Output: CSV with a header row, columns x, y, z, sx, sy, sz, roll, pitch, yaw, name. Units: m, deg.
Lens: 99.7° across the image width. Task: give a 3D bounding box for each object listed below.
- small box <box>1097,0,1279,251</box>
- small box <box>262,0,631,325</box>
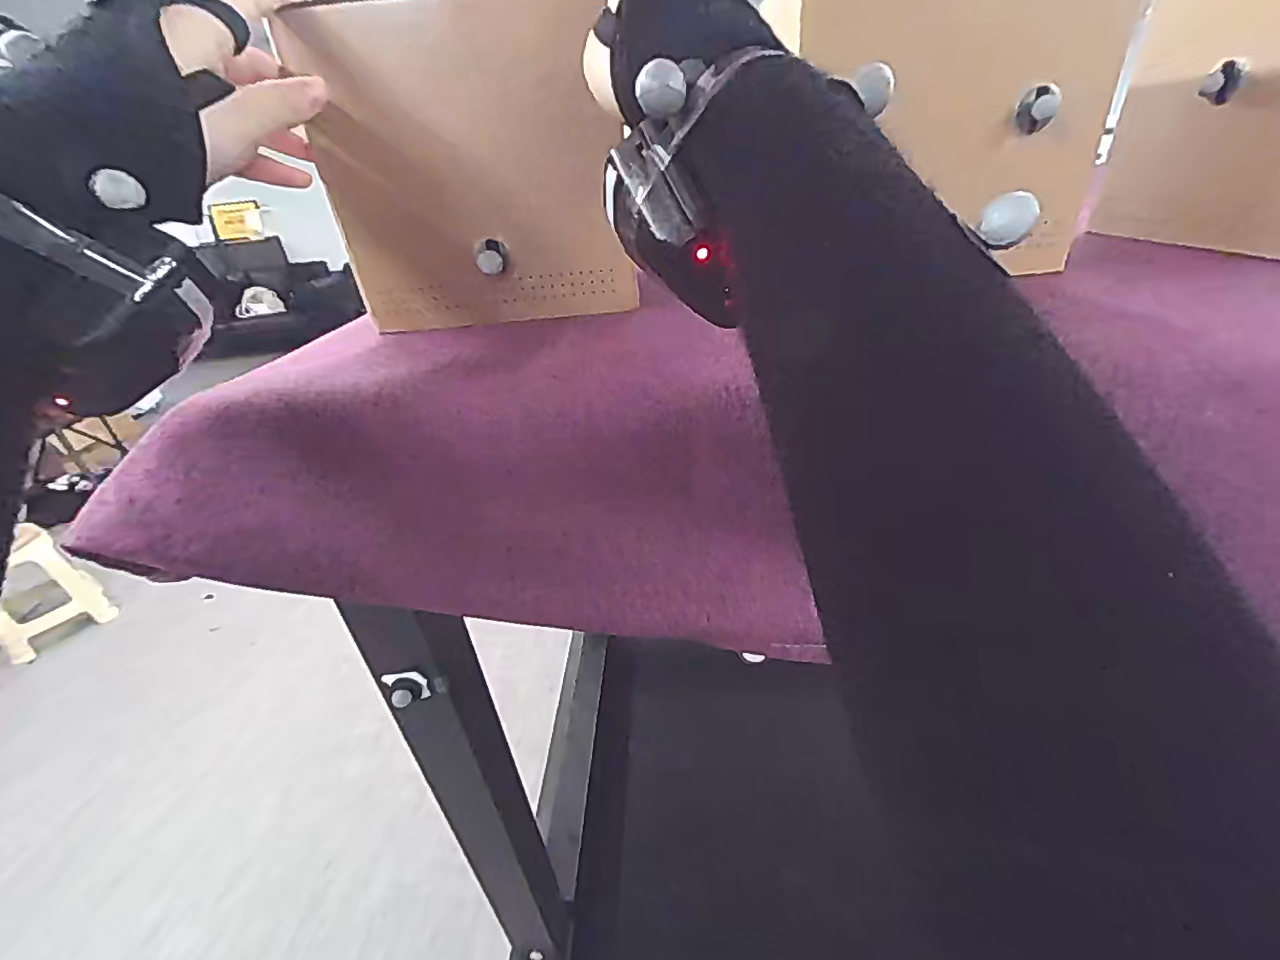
x,y,z,sx,sy,sz,roll,pitch,yaw,name
0.441,-0.240,0.326,0.168,0.176,0.179,-5,30,1,small box
-0.097,-0.215,0.372,0.179,0.176,0.168,-5,32,0,small box
